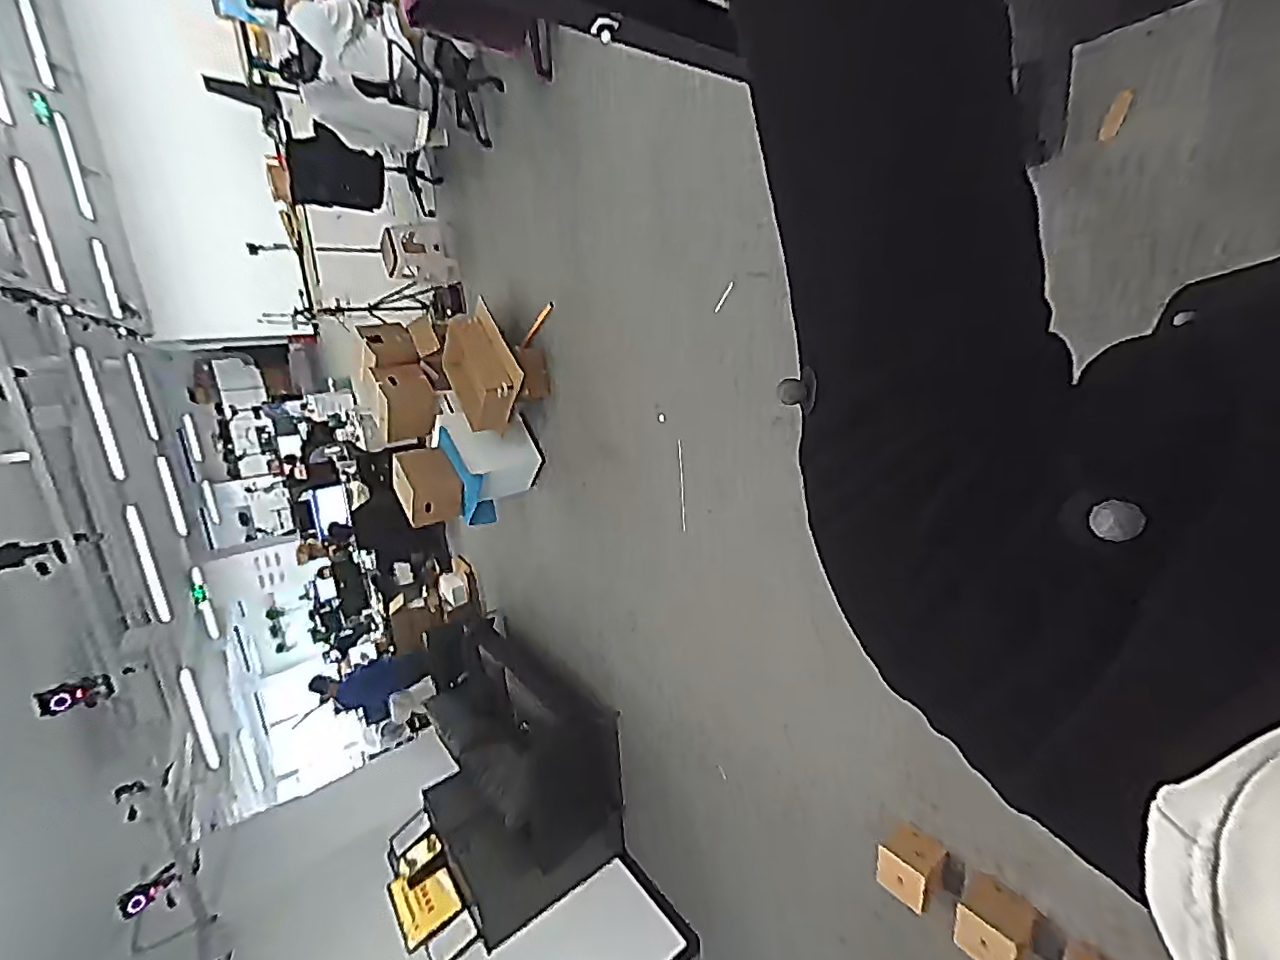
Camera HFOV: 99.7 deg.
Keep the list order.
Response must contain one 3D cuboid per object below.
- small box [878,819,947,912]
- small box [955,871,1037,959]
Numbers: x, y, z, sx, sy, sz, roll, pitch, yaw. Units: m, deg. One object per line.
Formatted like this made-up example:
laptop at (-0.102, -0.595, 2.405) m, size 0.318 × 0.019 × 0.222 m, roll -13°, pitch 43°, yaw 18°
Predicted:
small box at (0.977, 1.369, 1.937) m, size 0.168 × 0.176 × 0.179 m, roll 16°, pitch 115°, yaw 50°
small box at (1.138, 1.413, 1.727) m, size 0.168 × 0.176 × 0.179 m, roll 16°, pitch 115°, yaw 51°
